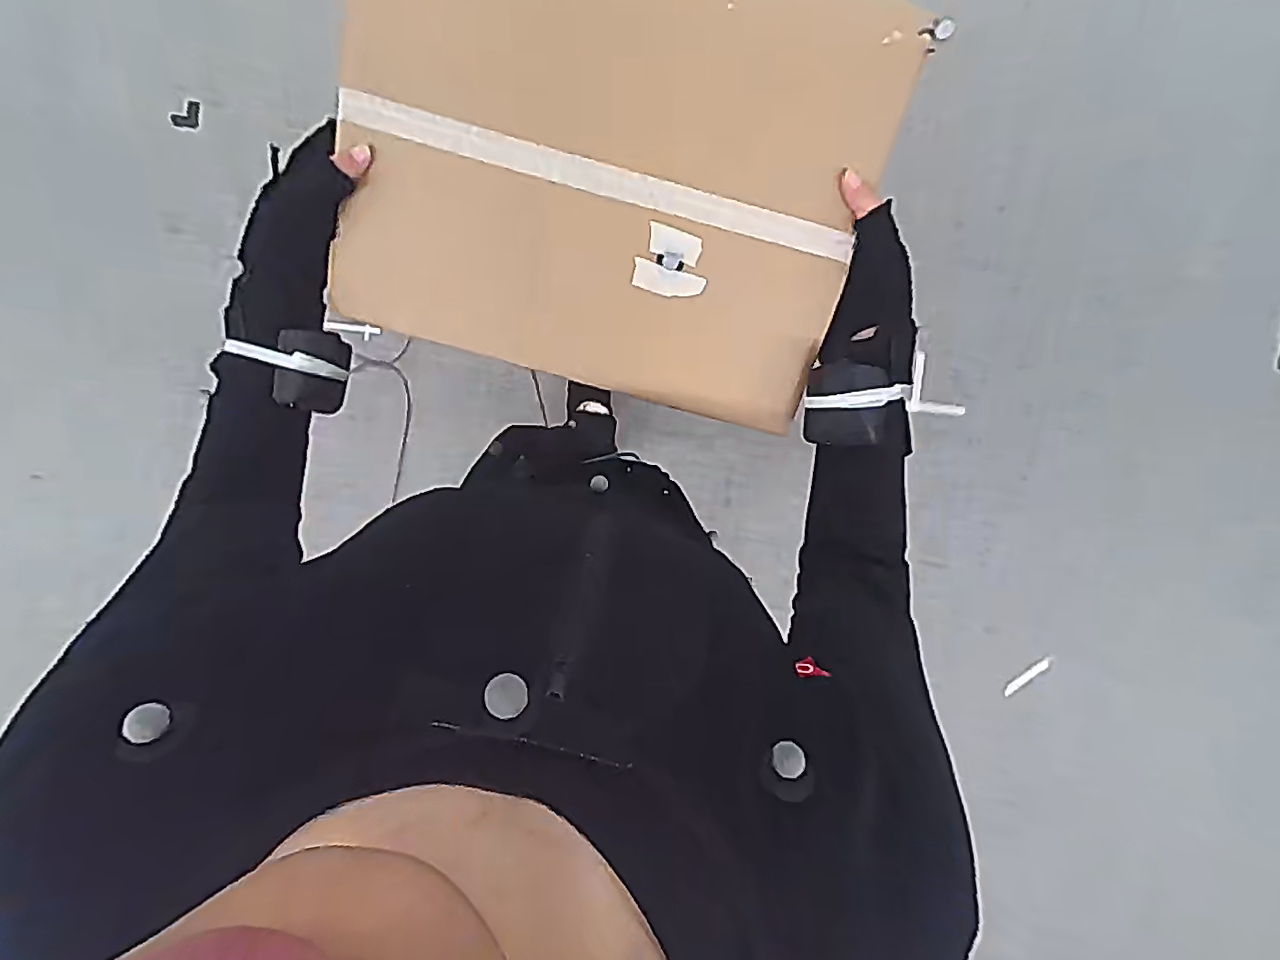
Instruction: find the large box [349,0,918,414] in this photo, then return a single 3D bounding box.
[{"bbox_3d":[-0.024,-0.291,0.567,0.408,0.320,0.320,14,111,-4],"label":"large box"}]
